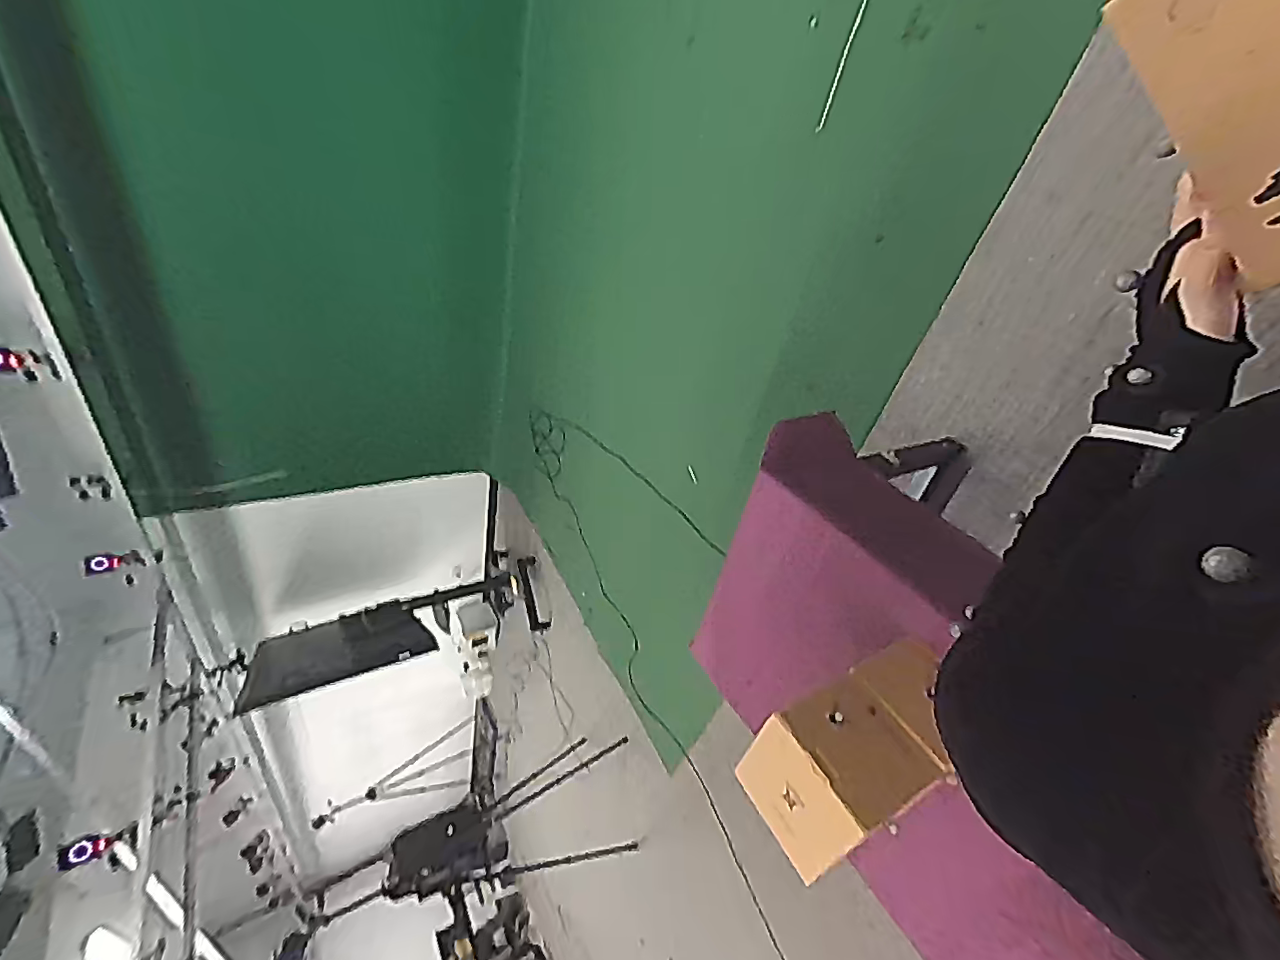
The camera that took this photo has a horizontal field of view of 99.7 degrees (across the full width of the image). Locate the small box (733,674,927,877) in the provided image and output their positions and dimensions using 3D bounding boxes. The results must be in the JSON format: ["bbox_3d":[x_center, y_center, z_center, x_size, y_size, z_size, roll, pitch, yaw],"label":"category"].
[{"bbox_3d":[0.267,0.408,0.767,0.168,0.176,0.179,52,139,39],"label":"small box"}]

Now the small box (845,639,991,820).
[{"bbox_3d":[0.406,0.381,0.849,0.168,0.176,0.179,50,138,40],"label":"small box"}]
